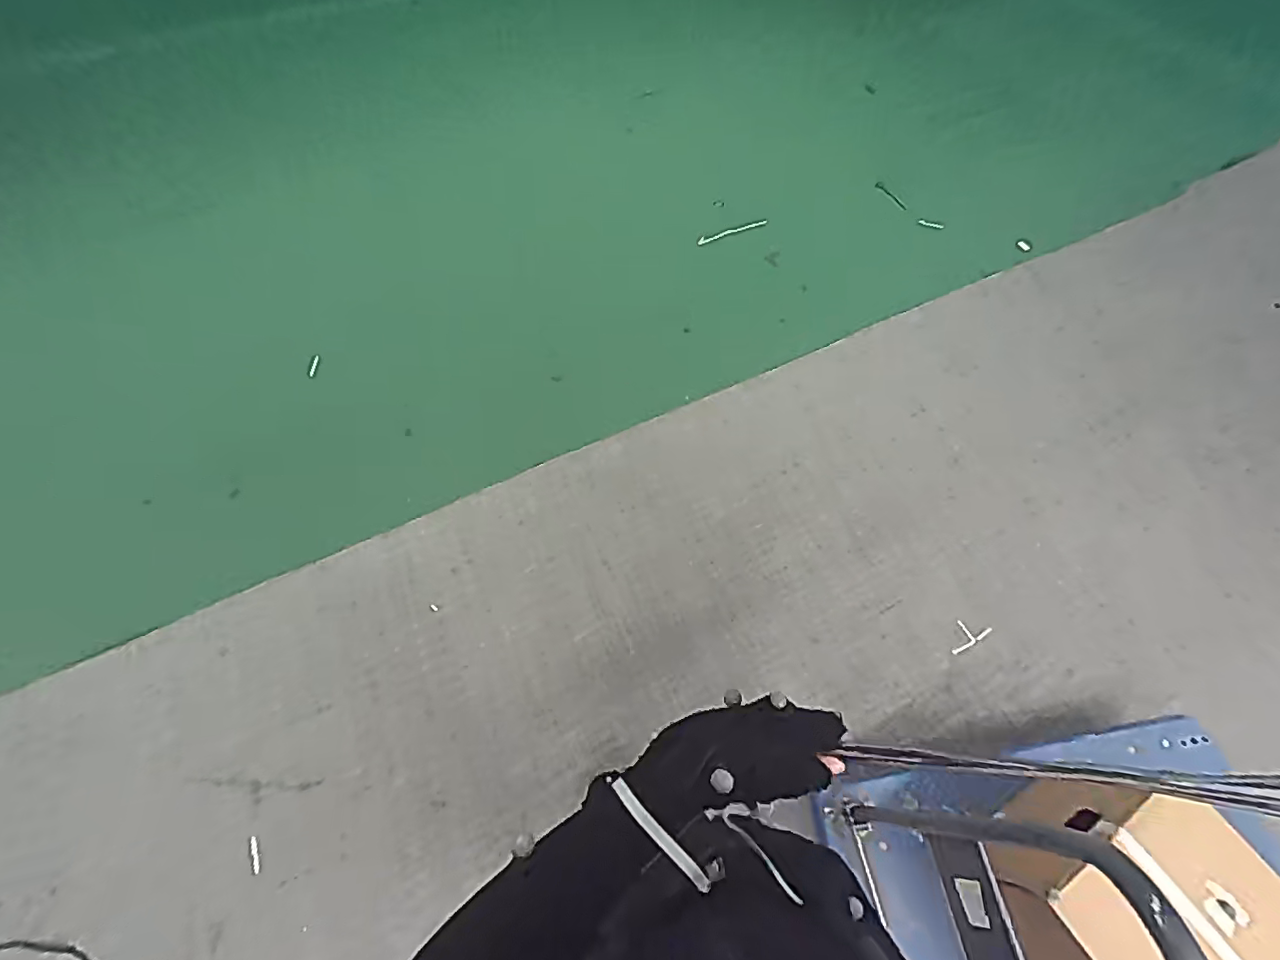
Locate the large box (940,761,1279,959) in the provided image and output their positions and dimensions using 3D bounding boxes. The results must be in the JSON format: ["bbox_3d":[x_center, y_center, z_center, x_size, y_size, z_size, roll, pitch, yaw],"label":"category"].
[{"bbox_3d":[0.805,0.732,0.873,0.320,0.320,0.408,-28,65,-15],"label":"large box"}]
